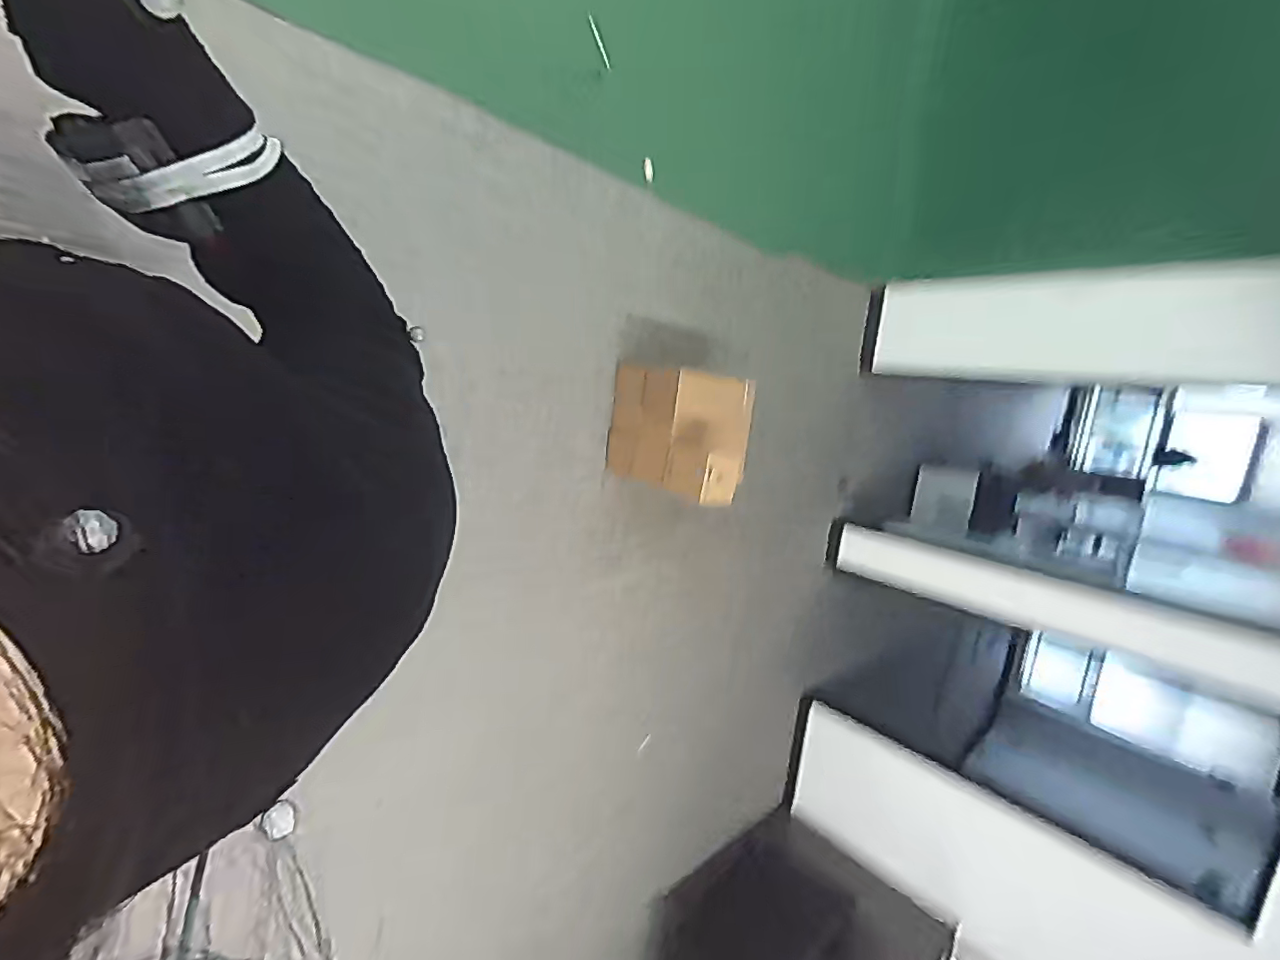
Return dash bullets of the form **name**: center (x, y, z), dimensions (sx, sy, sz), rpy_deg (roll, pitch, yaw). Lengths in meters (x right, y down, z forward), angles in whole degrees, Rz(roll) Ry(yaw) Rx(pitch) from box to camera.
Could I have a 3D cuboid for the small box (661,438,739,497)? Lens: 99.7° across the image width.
- **small box**: center (0.198, -0.043, 1.789), dimensions (0.179, 0.176, 0.168), rpy_deg (1, 101, -46)
